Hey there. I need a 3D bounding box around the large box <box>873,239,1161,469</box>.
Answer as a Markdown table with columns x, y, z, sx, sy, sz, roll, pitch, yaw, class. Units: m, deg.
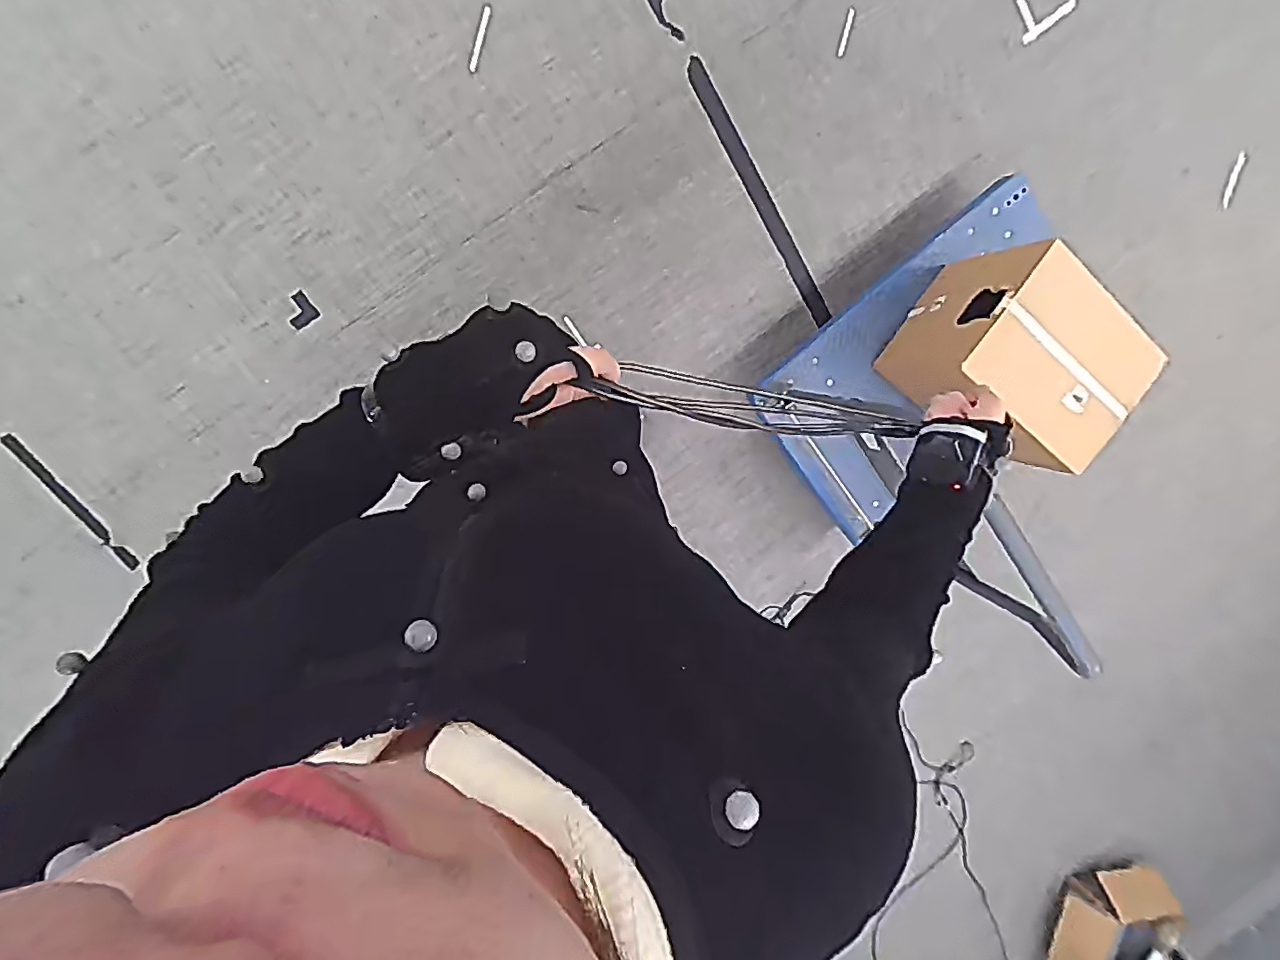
| x | y | z | sx | sy | sz | roll | pitch | yaw | class |
| --- | --- | --- | --- | --- | --- | --- | --- | --- | --- |
| 0.850 | -0.281 | 1.263 | 0.408 | 0.320 | 0.320 | 34 | 96 | -16 | large box |
